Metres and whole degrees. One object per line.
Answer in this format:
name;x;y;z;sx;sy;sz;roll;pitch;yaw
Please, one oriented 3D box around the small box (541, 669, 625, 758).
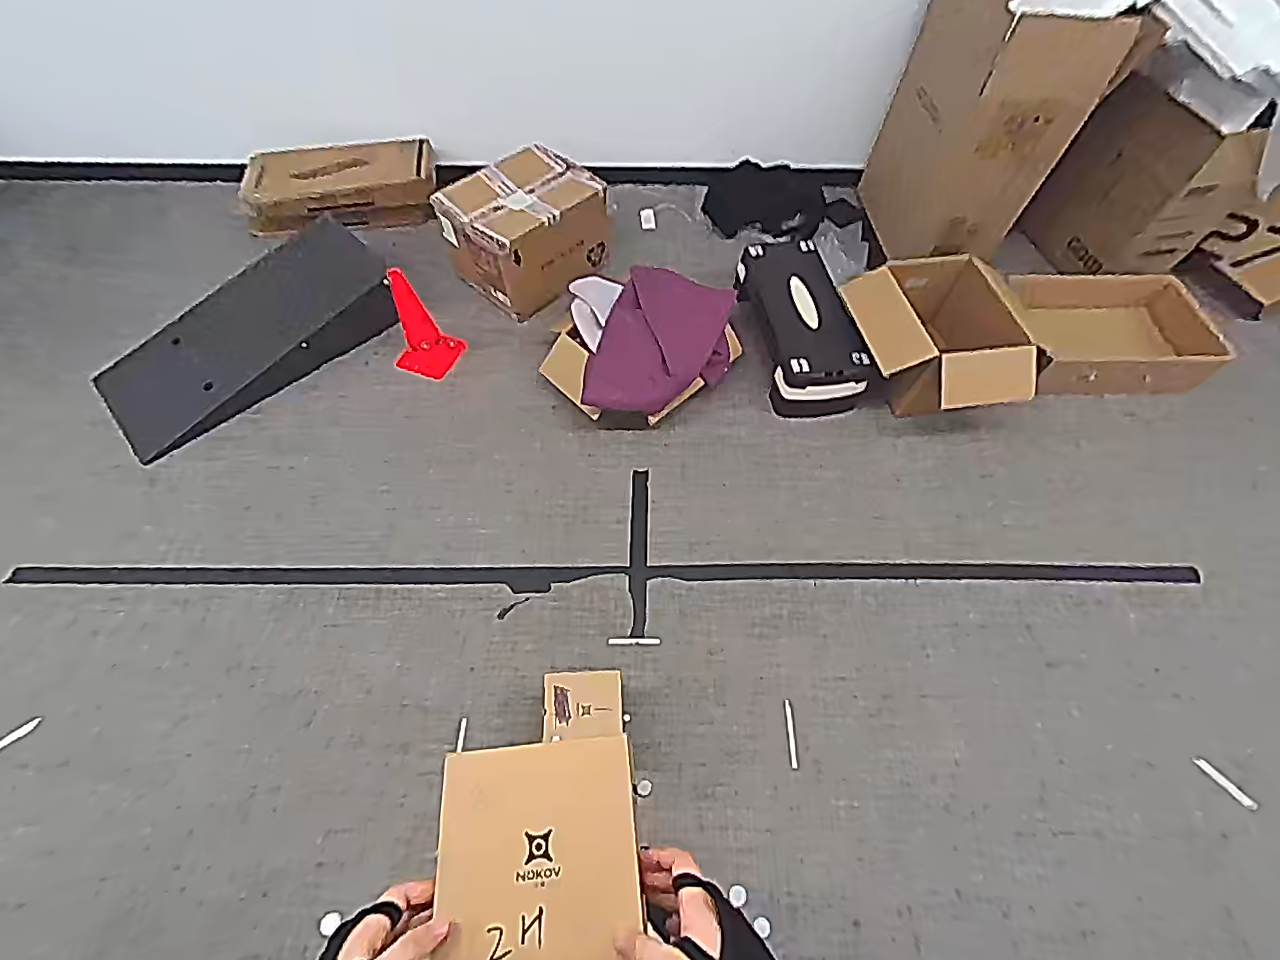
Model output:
small box;-0.125;0.543;1.250;0.179;0.176;0.168;-2;59;-2
